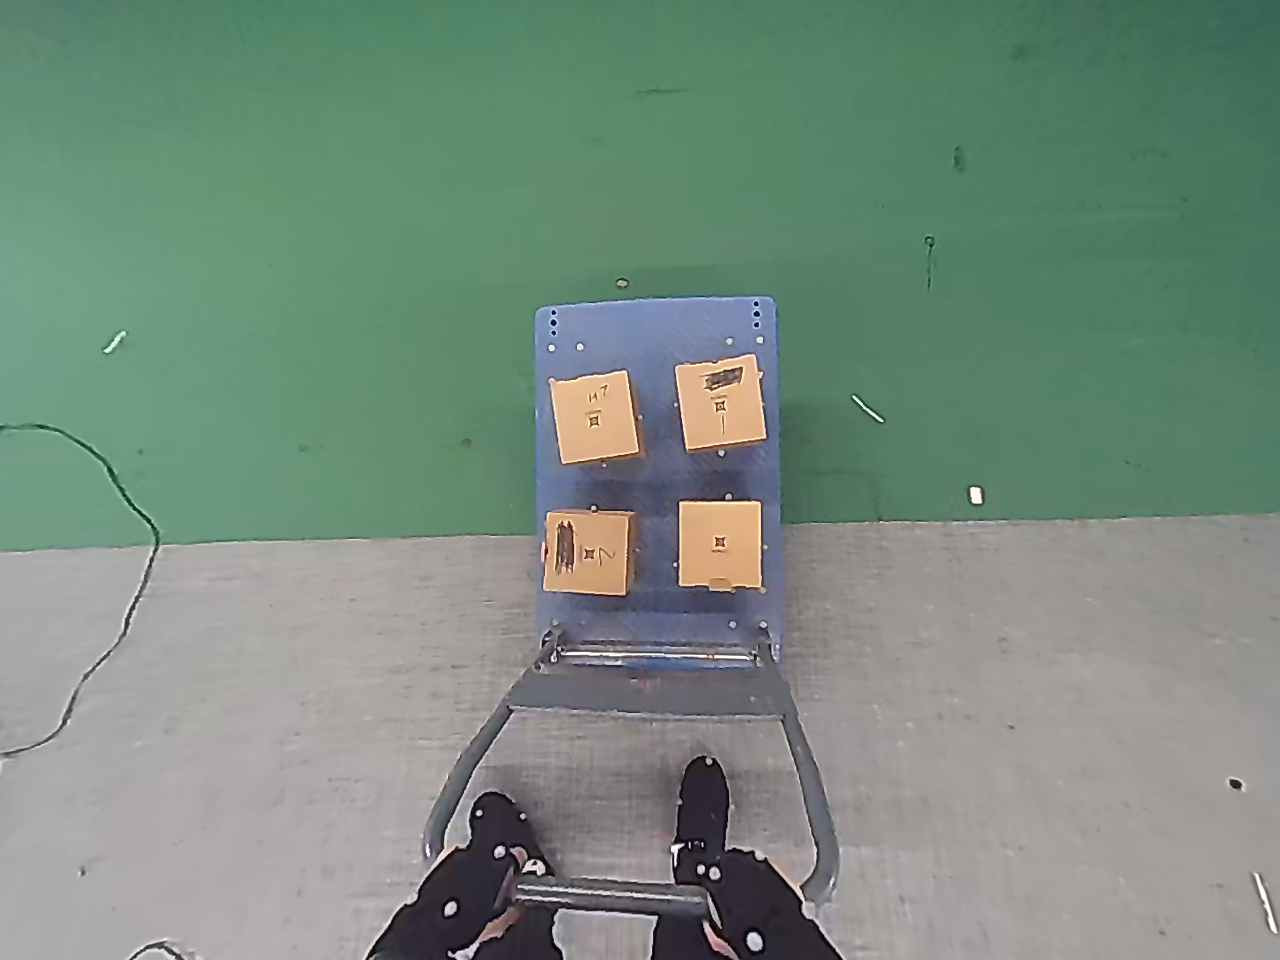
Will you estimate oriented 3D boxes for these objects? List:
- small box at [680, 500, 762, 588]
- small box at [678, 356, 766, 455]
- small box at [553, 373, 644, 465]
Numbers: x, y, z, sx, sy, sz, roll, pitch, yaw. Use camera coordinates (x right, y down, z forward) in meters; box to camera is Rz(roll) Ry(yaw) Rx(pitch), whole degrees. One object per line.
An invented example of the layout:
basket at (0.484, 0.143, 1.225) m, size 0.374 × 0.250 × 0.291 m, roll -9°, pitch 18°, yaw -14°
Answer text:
small box at (0.170, 0.132, 1.174) m, size 0.168 × 0.176 × 0.179 m, roll 0°, pitch 90°, yaw 6°
small box at (0.173, -0.155, 1.176) m, size 0.168 × 0.176 × 0.179 m, roll -7°, pitch 89°, yaw 6°
small box at (-0.085, -0.128, 1.200) m, size 0.168 × 0.176 × 0.179 m, roll -8°, pitch 89°, yaw 5°
